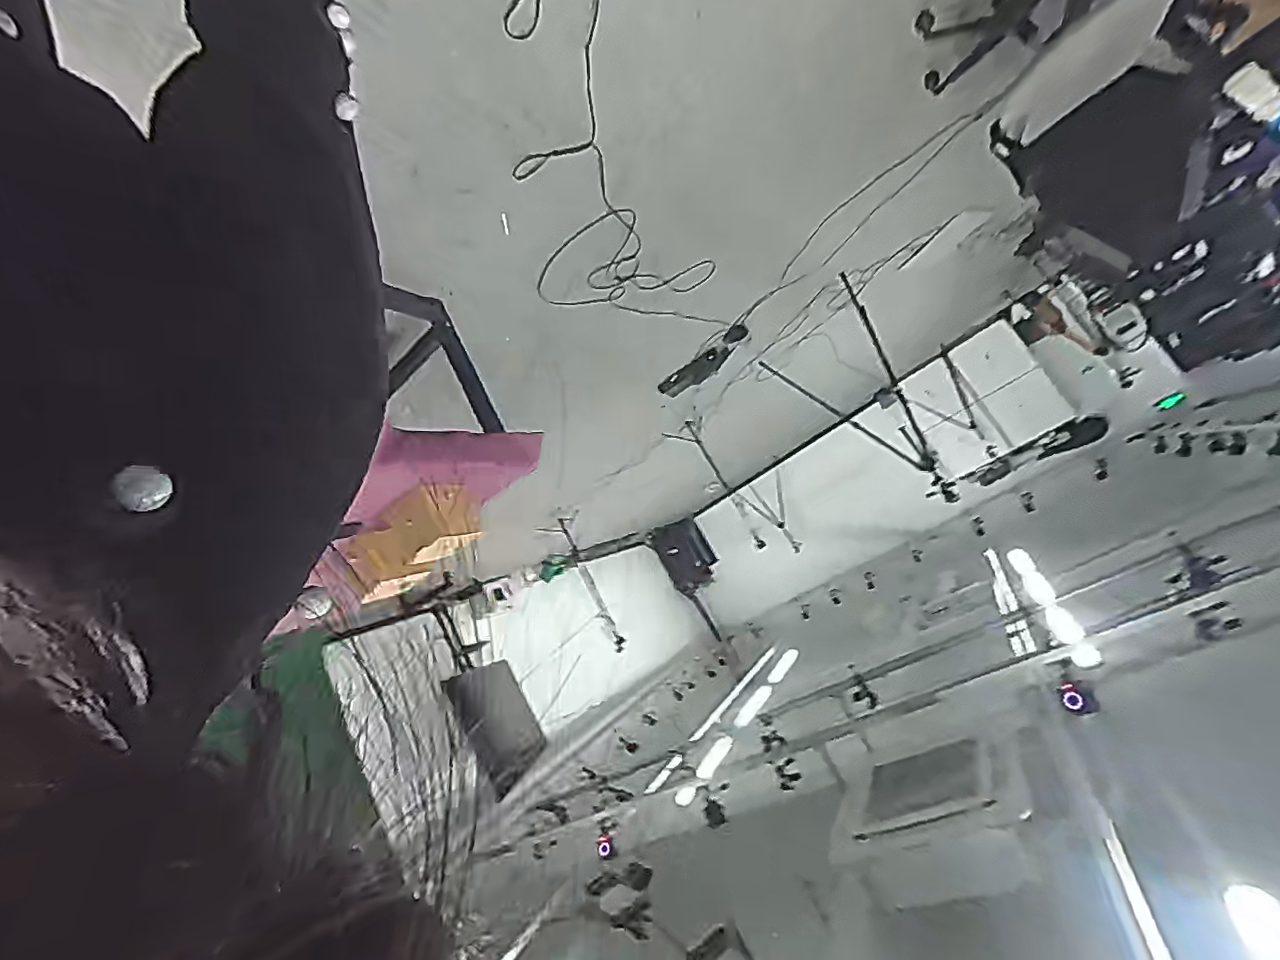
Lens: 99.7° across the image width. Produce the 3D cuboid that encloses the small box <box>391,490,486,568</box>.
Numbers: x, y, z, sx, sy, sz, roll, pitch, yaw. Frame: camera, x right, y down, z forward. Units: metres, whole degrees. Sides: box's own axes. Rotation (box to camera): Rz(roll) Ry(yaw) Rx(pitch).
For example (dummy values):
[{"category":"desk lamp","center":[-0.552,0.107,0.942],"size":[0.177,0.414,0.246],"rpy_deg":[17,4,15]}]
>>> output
[{"category":"small box","center":[-0.602,0.138,1.605],"size":[0.168,0.176,0.179],"rpy_deg":[-35,165,23]}]

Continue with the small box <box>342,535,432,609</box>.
[{"category":"small box","center":[-0.802,0.282,1.712],"size":[0.168,0.176,0.179],"rpy_deg":[-37,164,27]}]
